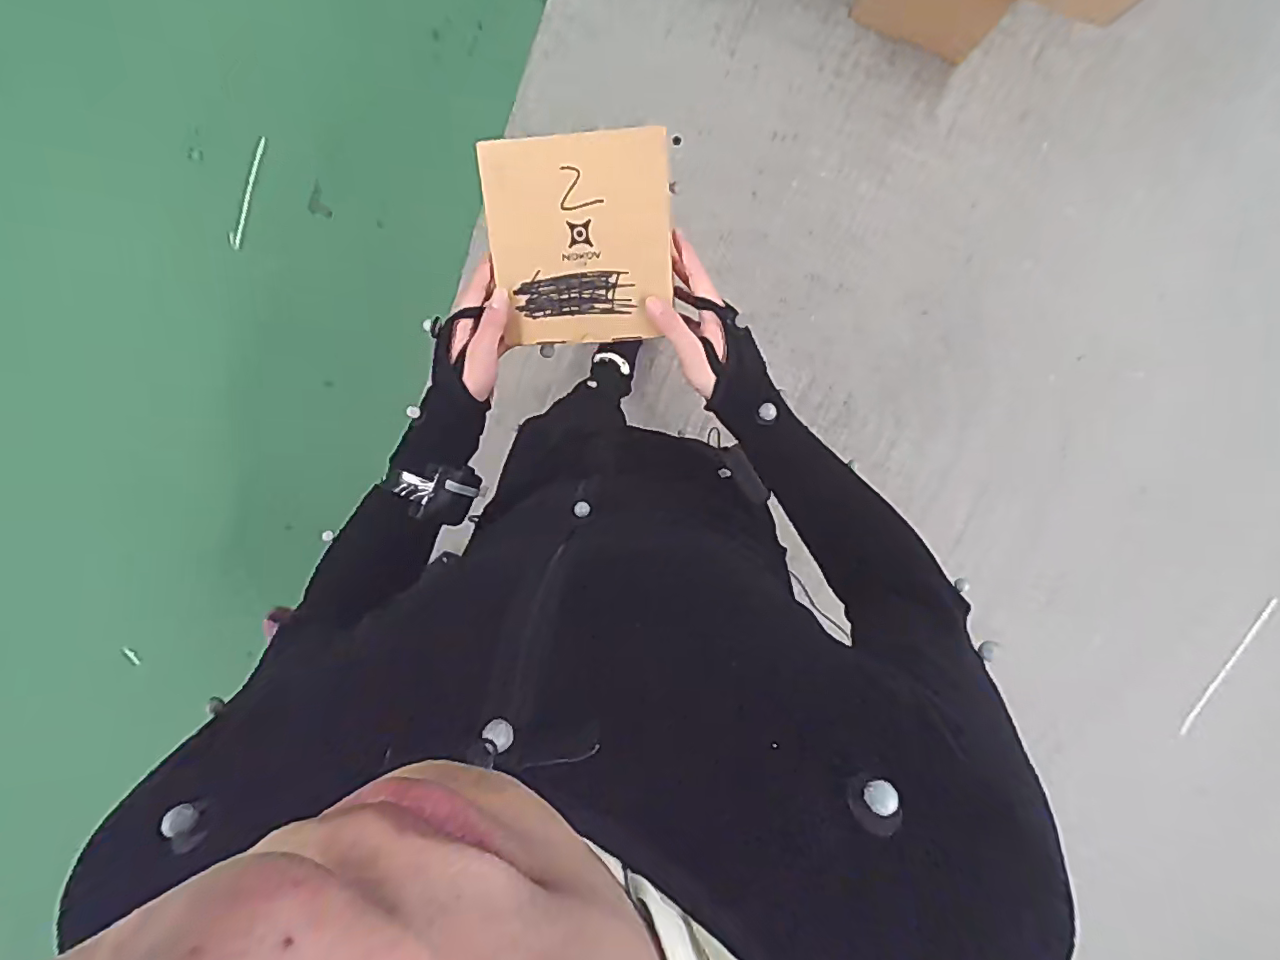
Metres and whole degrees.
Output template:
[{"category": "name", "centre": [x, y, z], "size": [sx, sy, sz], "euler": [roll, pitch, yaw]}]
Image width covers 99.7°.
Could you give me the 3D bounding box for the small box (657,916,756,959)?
[{"category": "small box", "centre": [0.117, 0.951, 0.972], "size": [0.168, 0.176, 0.179], "euler": [22, 102, -2]}]

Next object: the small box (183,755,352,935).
[{"category": "small box", "centre": [-0.655, 0.643, 0.971], "size": [0.168, 0.176, 0.179], "euler": [24, 101, -1]}]

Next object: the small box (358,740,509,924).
[{"category": "small box", "centre": [-0.347, 0.599, 0.938], "size": [0.168, 0.176, 0.179], "euler": [23, 103, -1]}]
